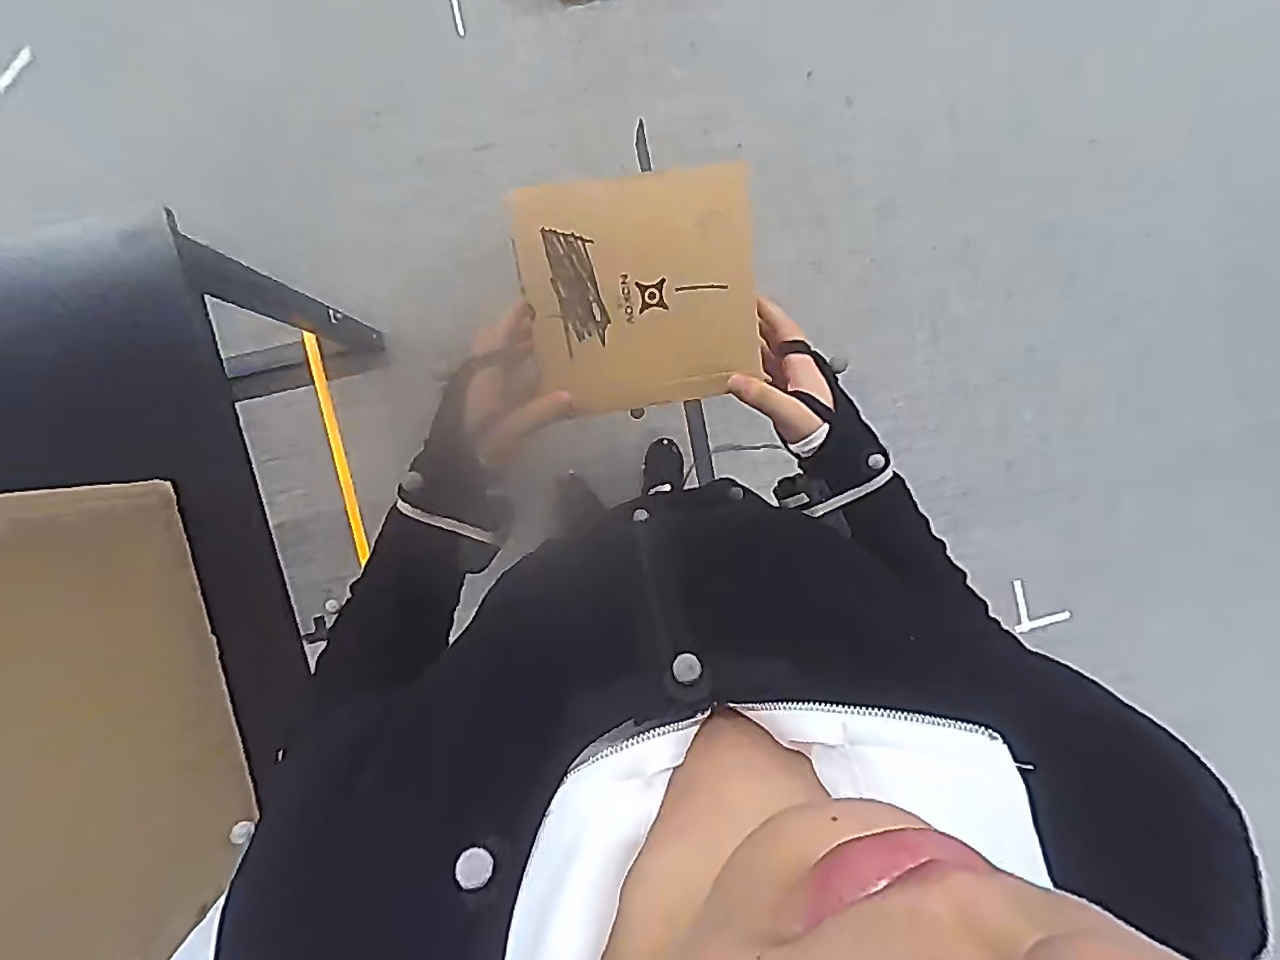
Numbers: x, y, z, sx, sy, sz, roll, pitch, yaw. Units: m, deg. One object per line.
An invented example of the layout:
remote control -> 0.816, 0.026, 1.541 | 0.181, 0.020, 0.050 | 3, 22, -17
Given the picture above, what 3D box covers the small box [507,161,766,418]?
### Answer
small box -> -0.003, -0.154, 0.475 | 0.179, 0.176, 0.168 | -9, 104, -3
